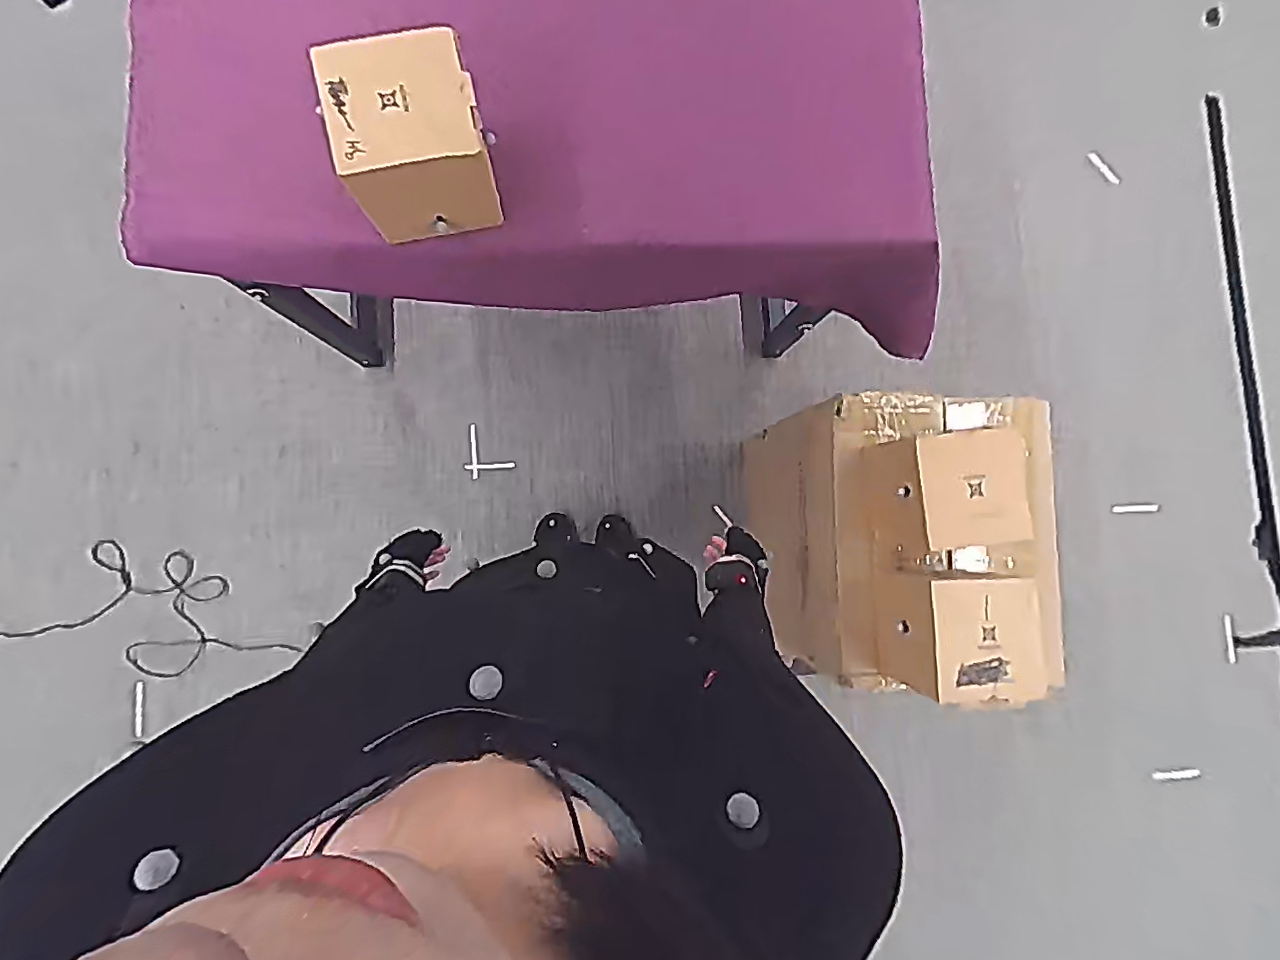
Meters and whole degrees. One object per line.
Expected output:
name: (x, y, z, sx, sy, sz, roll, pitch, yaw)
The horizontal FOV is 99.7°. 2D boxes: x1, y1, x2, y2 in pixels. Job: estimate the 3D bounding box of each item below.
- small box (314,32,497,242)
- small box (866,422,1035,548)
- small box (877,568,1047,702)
small box: (-0.300, -0.452, 0.735, 0.179, 0.176, 0.168, -13, 86, -6)
small box: (0.487, 0.012, 0.873, 0.168, 0.176, 0.179, -6, 88, -3)
small box: (0.496, 0.235, 0.856, 0.168, 0.176, 0.179, -1, 84, -4)
